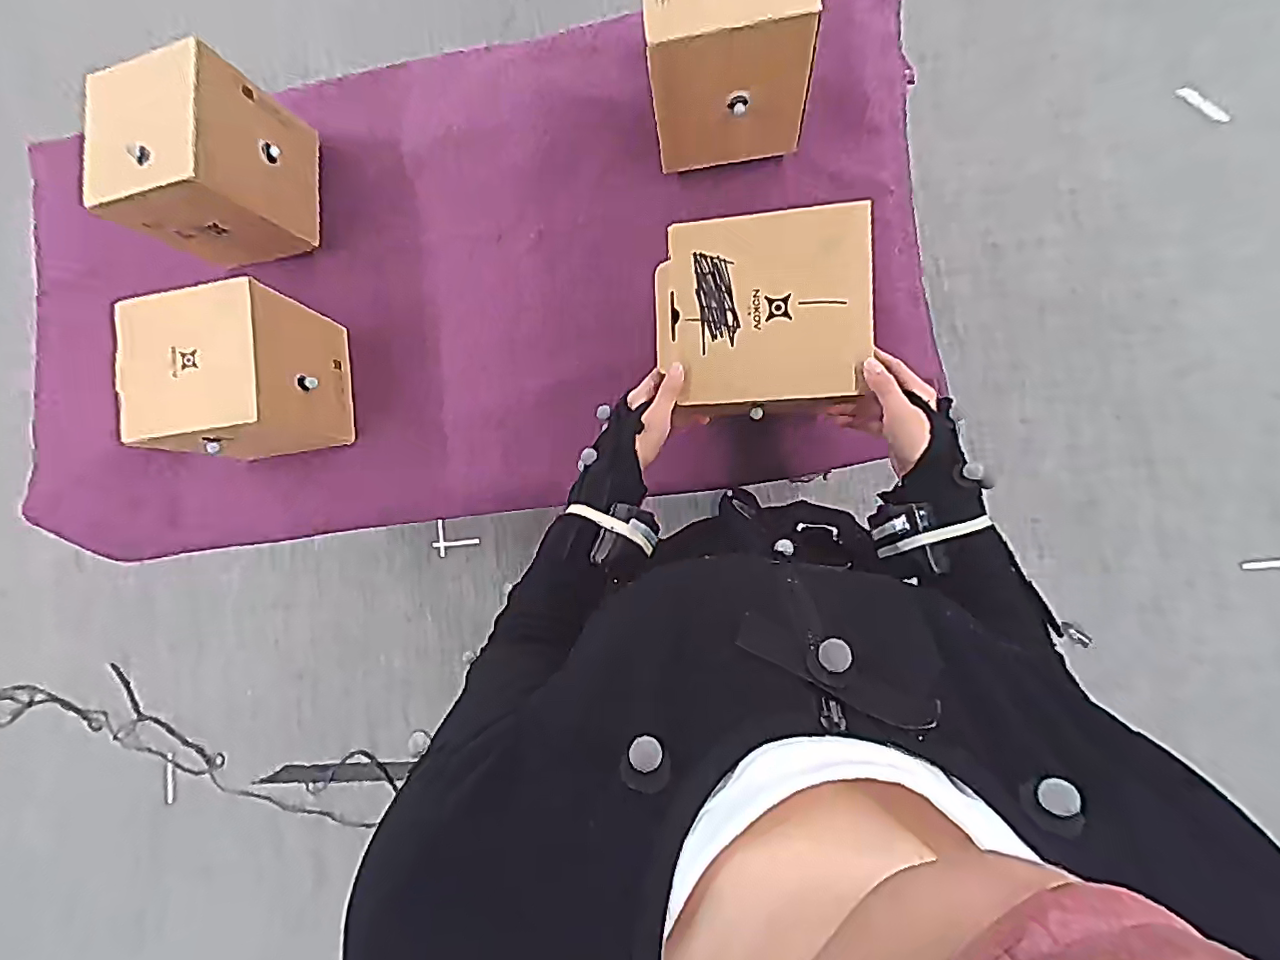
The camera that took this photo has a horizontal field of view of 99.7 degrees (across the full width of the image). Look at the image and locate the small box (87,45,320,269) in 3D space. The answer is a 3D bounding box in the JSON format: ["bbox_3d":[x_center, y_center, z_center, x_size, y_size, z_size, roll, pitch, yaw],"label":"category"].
[{"bbox_3d":[-0.542,-0.396,0.684,0.179,0.168,0.176,-4,85,15],"label":"small box"}]

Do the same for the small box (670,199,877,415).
[{"bbox_3d":[0.131,-0.156,0.549,0.179,0.176,0.168,-2,93,11],"label":"small box"}]

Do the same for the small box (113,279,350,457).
[{"bbox_3d":[-0.488,-0.126,0.673,0.179,0.176,0.168,-8,85,7],"label":"small box"}]
